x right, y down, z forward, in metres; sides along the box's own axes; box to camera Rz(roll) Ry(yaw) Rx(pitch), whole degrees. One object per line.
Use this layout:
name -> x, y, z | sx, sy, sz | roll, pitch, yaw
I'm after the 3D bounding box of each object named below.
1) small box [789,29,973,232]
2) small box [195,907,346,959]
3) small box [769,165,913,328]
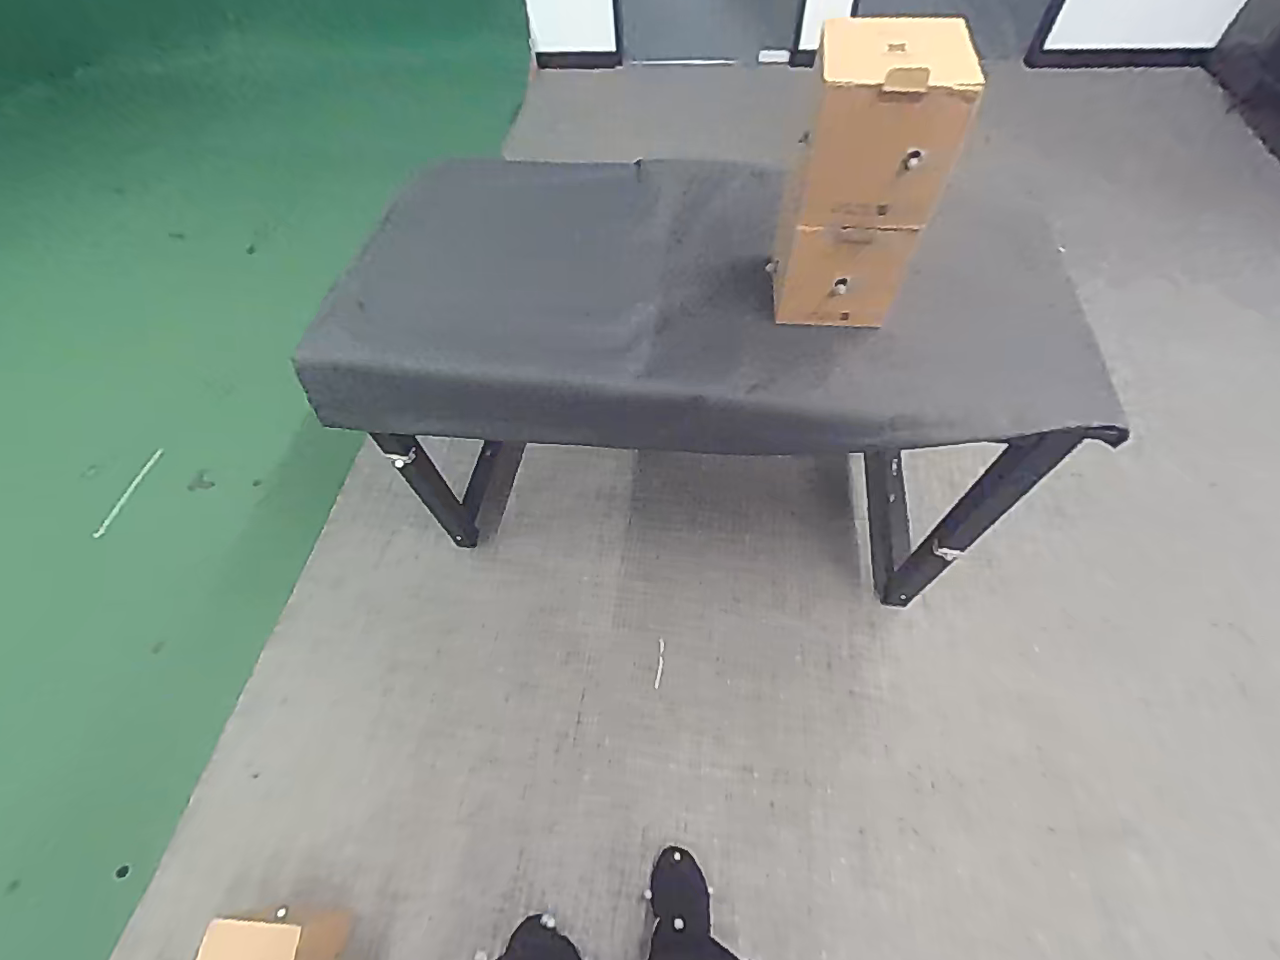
small box -> 0.290, -0.441, 0.691 | 0.168, 0.176, 0.179 | 7, 57, 7
small box -> -0.665, 0.877, 0.961 | 0.179, 0.176, 0.168 | 1, 57, 5
small box -> 0.294, -0.353, 0.828 | 0.168, 0.176, 0.179 | 4, 58, 5
